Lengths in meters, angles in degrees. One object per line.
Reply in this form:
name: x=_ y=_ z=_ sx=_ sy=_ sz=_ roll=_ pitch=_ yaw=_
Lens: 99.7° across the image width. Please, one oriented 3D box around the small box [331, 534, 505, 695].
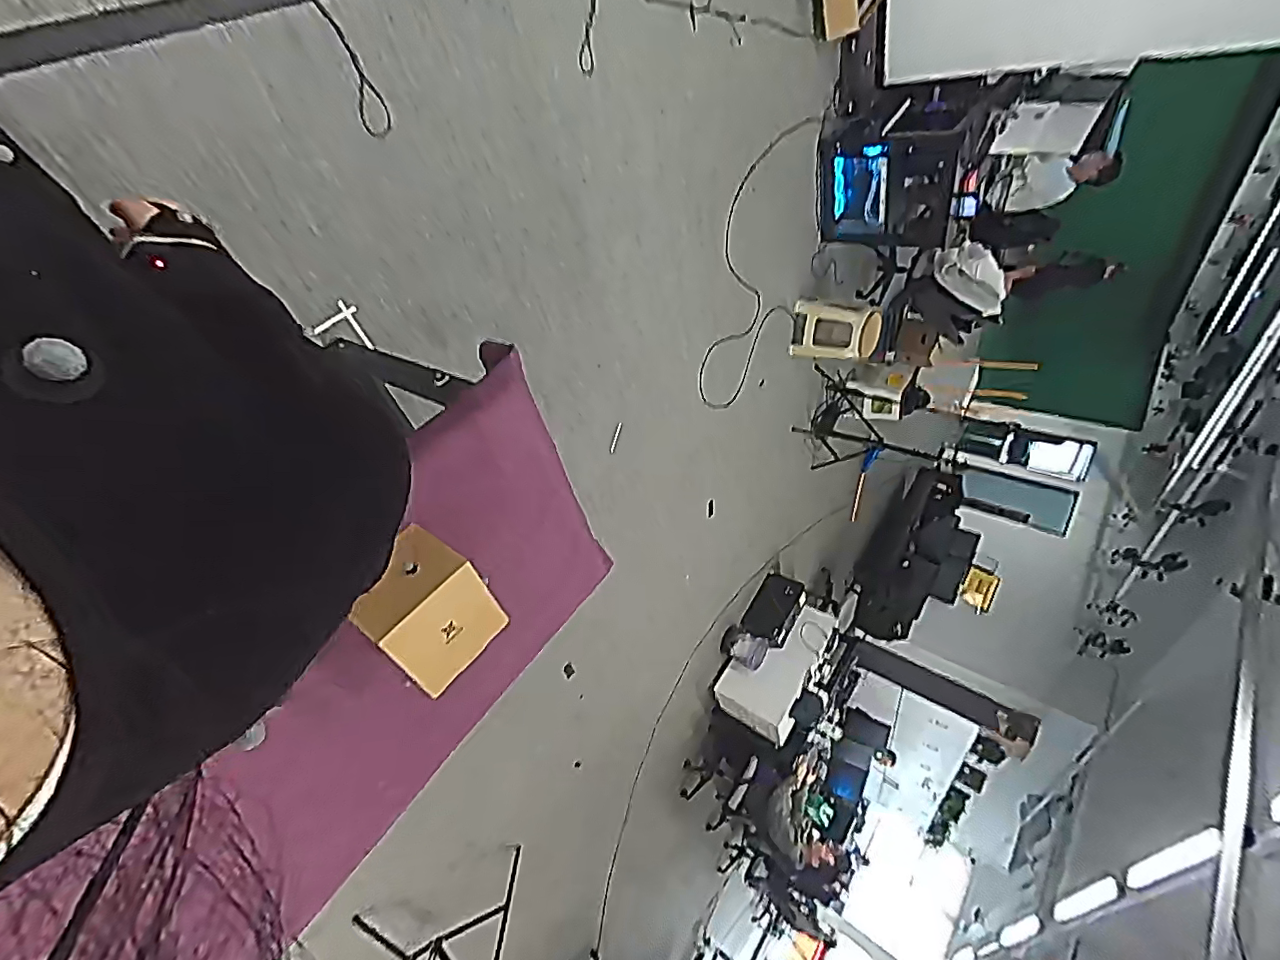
small box: x=-0.363 y=0.209 z=0.890 sx=0.168 sy=0.176 sz=0.179 roll=-47 pitch=141 yaw=-29
